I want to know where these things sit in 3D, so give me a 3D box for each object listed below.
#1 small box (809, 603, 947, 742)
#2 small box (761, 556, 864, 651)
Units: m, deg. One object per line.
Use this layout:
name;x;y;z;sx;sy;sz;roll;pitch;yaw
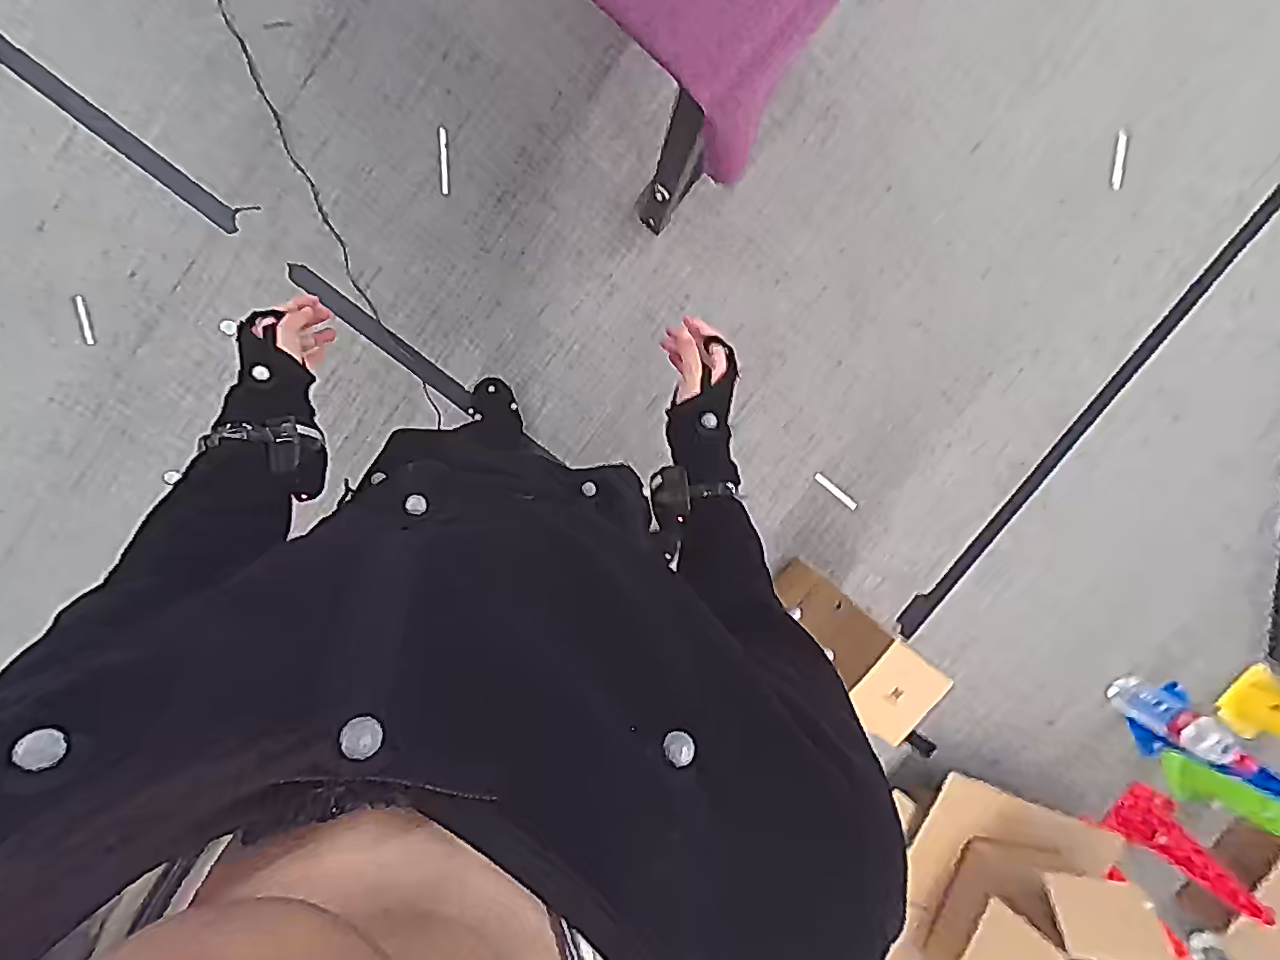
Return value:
small box;0.480;0.393;1.127;0.168;0.176;0.179;36;96;-13
small box;0.451;0.332;1.448;0.168;0.176;0.179;38;96;-11
